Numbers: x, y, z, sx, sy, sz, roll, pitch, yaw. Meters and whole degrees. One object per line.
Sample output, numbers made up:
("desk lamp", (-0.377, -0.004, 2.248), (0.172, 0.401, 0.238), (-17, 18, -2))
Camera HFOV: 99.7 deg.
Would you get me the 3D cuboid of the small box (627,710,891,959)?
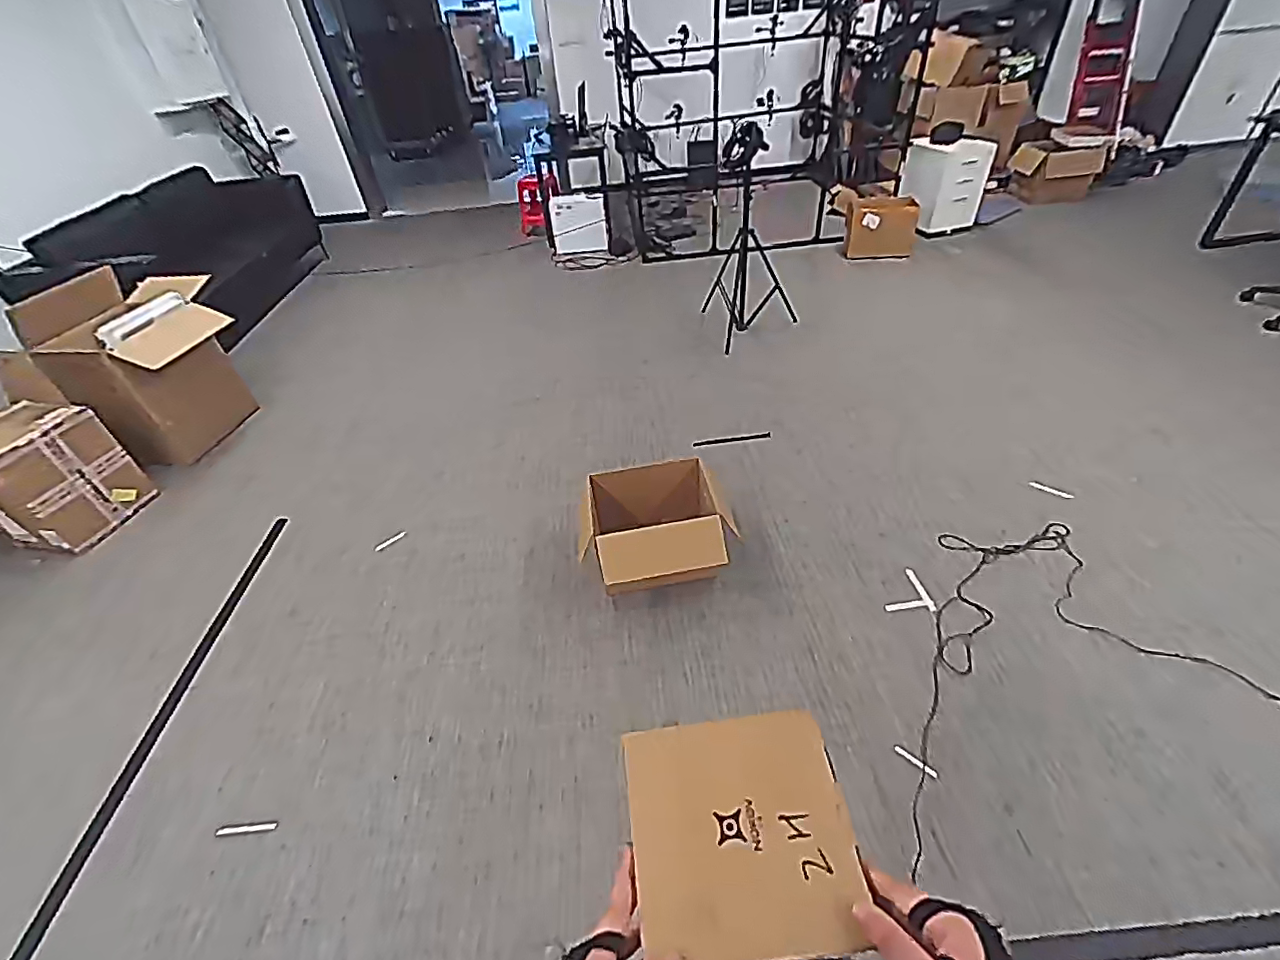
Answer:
("small box", (0.087, 0.325, 0.484), (0.179, 0.176, 0.168), (-6, 50, -2))
